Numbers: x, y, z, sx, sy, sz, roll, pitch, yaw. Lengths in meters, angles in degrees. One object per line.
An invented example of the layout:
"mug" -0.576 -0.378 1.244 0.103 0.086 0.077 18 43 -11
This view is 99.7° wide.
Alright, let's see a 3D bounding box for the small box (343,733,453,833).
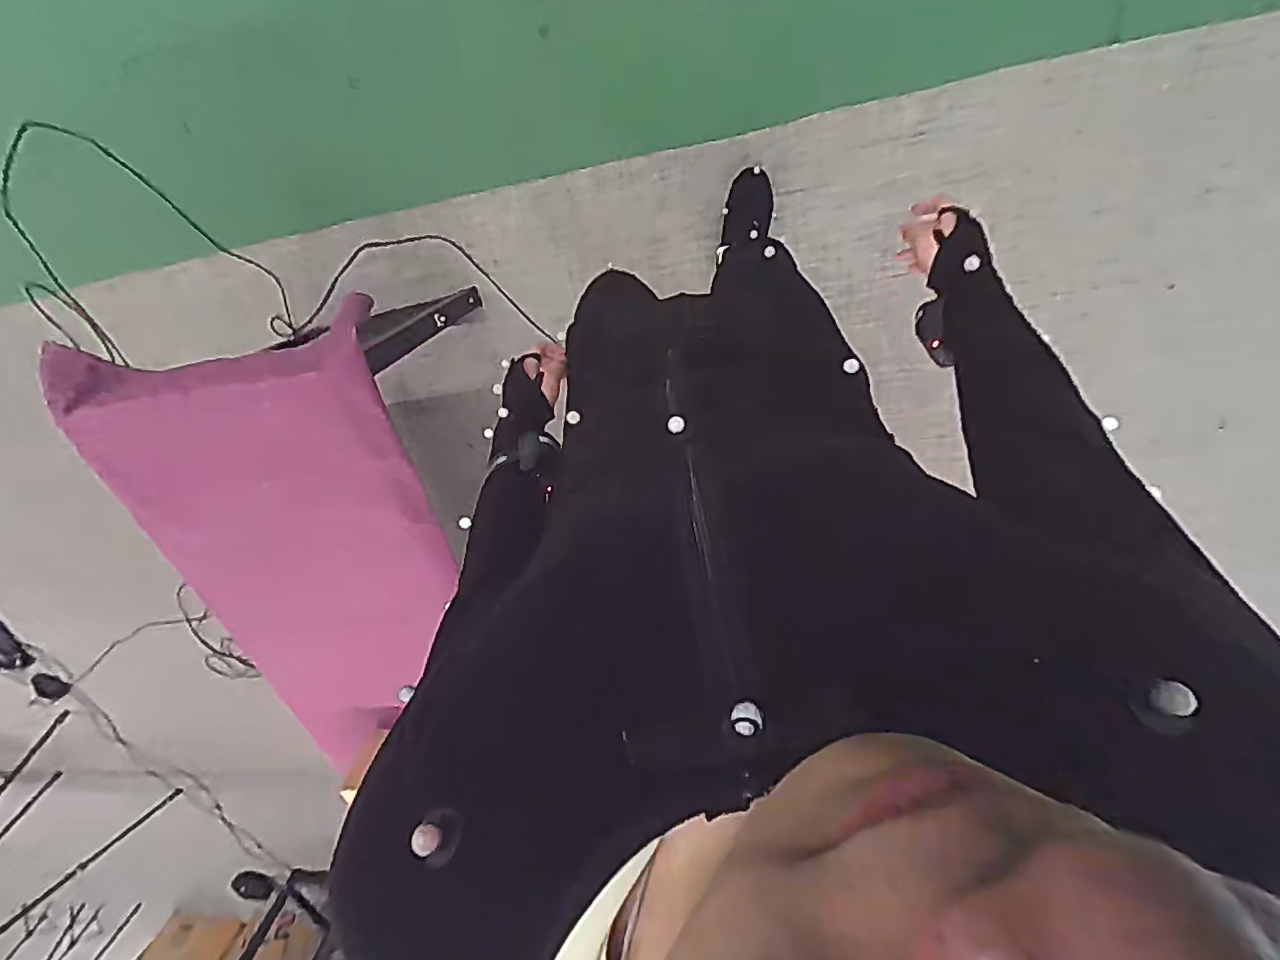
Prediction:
"small box" -0.611 0.774 1.390 0.168 0.176 0.179 -6 120 12
